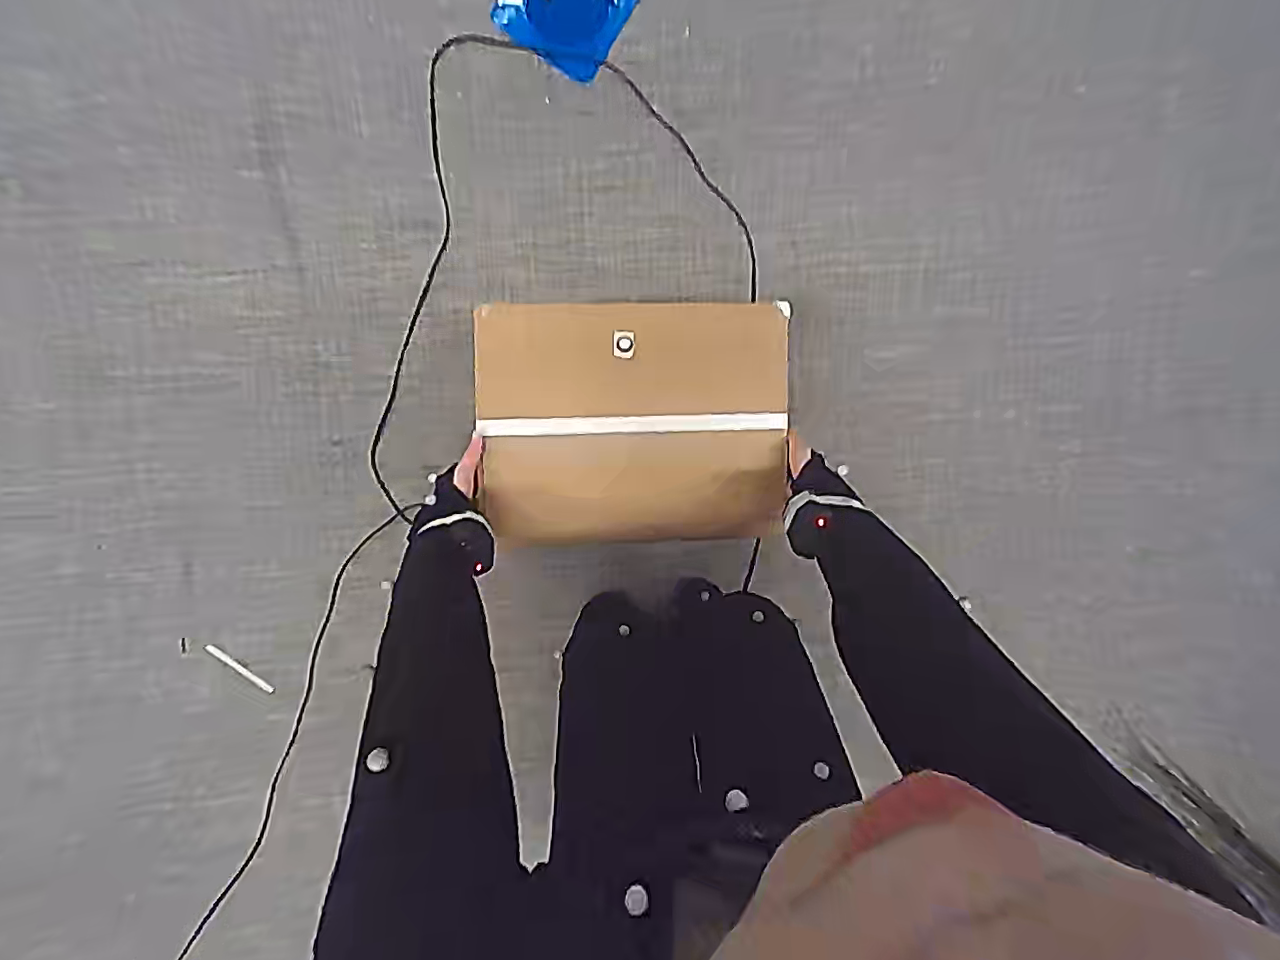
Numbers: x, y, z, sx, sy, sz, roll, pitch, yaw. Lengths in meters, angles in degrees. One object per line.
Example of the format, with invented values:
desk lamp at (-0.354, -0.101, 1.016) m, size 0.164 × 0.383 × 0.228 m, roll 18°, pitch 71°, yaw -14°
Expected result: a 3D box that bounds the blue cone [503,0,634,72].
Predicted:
blue cone at (-0.103, -0.804, 0.749) m, size 0.192 × 0.380 × 0.193 m, roll 29°, pitch 91°, yaw -7°
